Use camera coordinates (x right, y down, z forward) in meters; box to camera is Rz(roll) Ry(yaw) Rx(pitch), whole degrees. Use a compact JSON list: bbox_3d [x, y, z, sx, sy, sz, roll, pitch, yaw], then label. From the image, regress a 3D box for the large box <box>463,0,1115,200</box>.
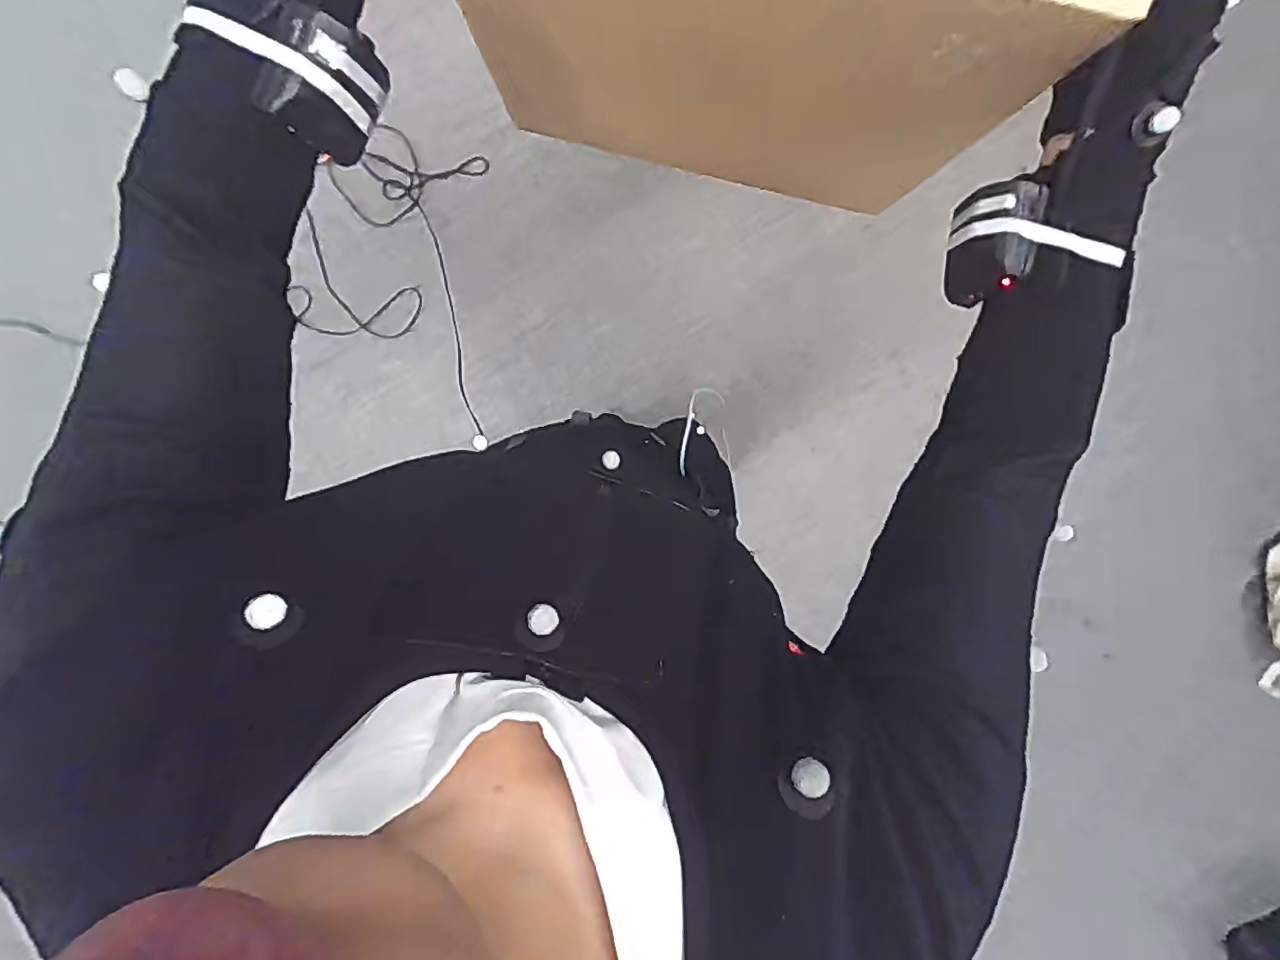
[{"bbox_3d":[0.089,-0.460,0.411,0.408,0.320,0.320,11,99,-3],"label":"large box"}]
